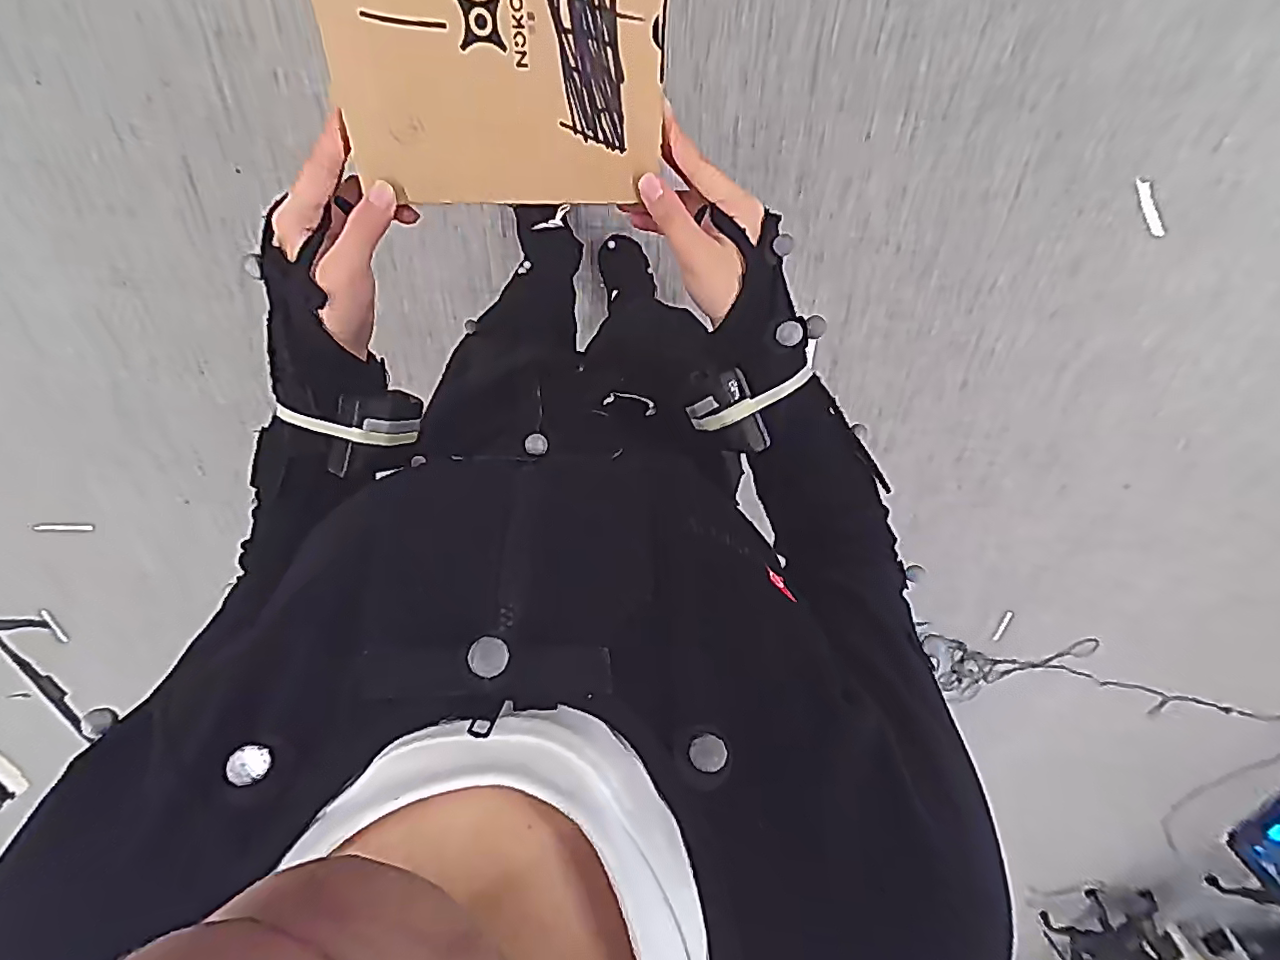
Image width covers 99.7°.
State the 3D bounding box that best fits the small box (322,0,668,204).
[{"bbox_3d":[-0.082,-0.285,0.344,0.179,0.176,0.168,-3,128,-7],"label":"small box"}]
